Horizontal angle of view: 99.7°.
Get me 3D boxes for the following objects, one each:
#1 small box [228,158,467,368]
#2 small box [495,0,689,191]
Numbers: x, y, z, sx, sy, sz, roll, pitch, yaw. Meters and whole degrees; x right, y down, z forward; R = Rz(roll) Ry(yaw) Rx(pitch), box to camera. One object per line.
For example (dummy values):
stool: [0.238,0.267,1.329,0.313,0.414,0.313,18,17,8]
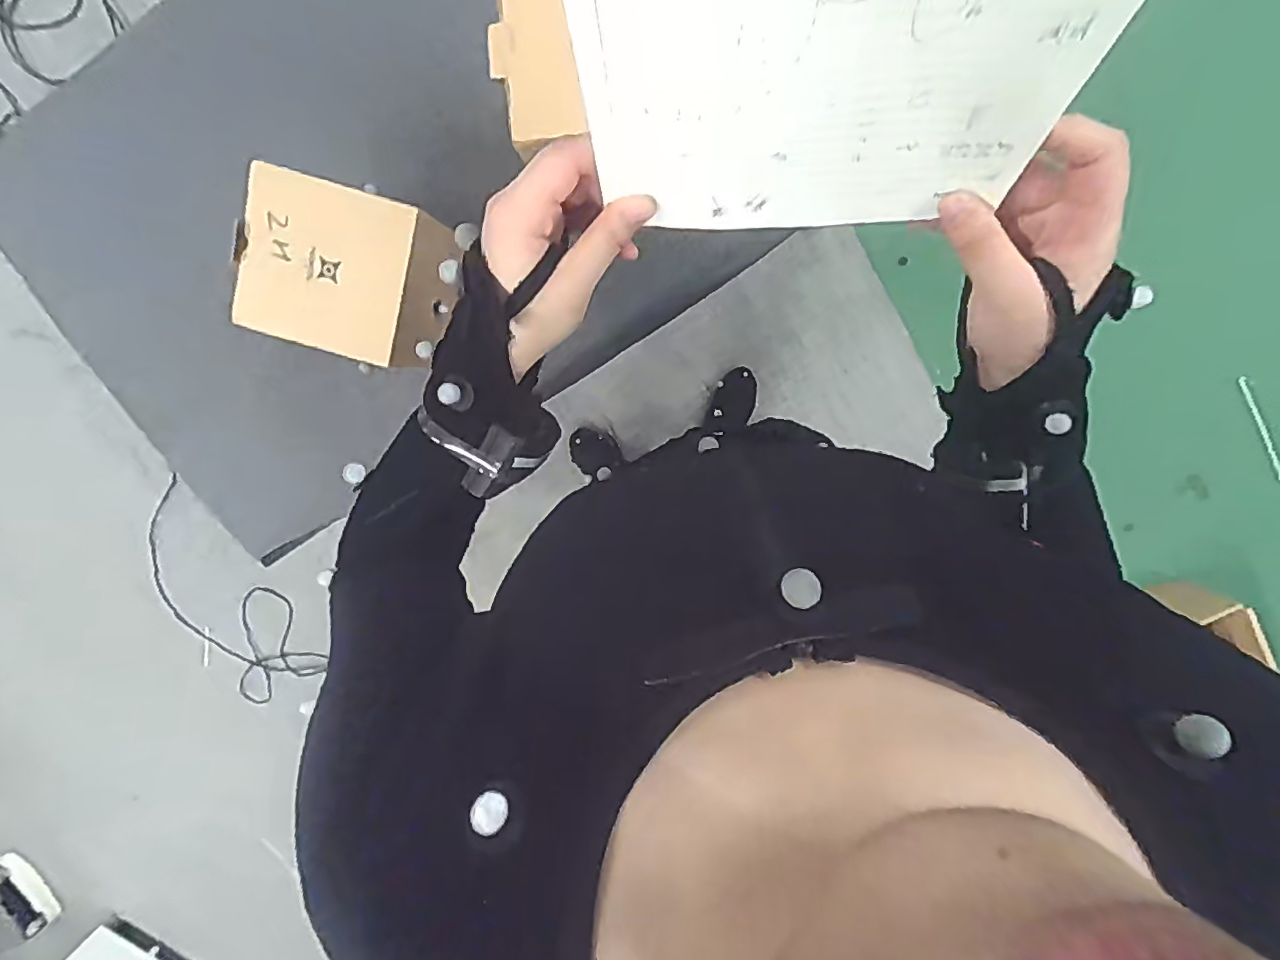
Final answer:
small box: [-0.323,-0.235,0.629,0.179,0.176,0.168,16,101,-1]
small box: [-0.042,-0.427,0.578,0.179,0.176,0.168,-3,101,4]
